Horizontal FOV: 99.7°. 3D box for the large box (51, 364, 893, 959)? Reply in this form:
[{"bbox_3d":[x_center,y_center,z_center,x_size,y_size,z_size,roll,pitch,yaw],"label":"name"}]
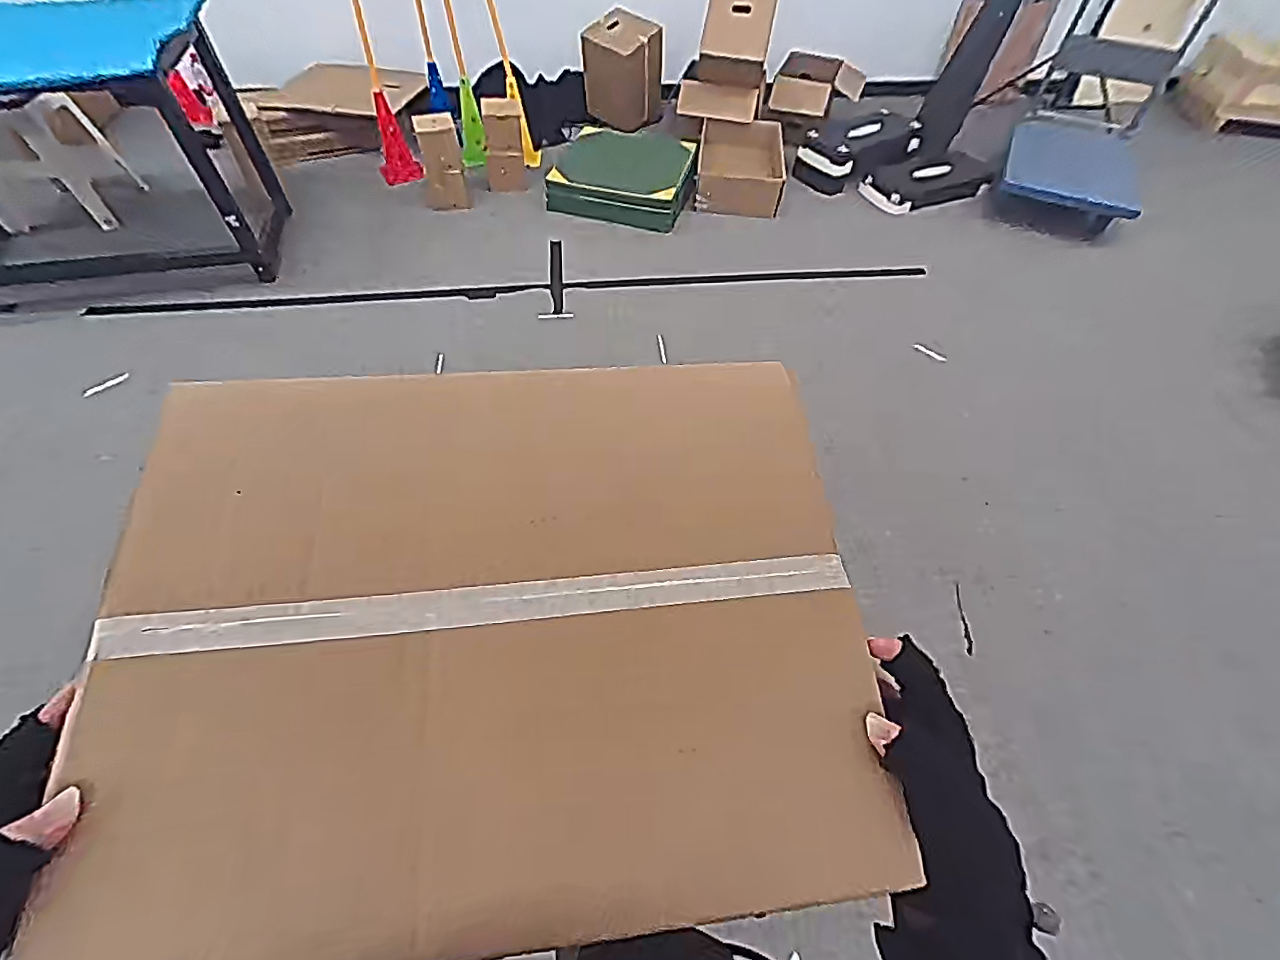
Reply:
[{"bbox_3d":[-0.090,0.129,0.450,0.408,0.320,0.320,-4,66,-7],"label":"large box"}]
